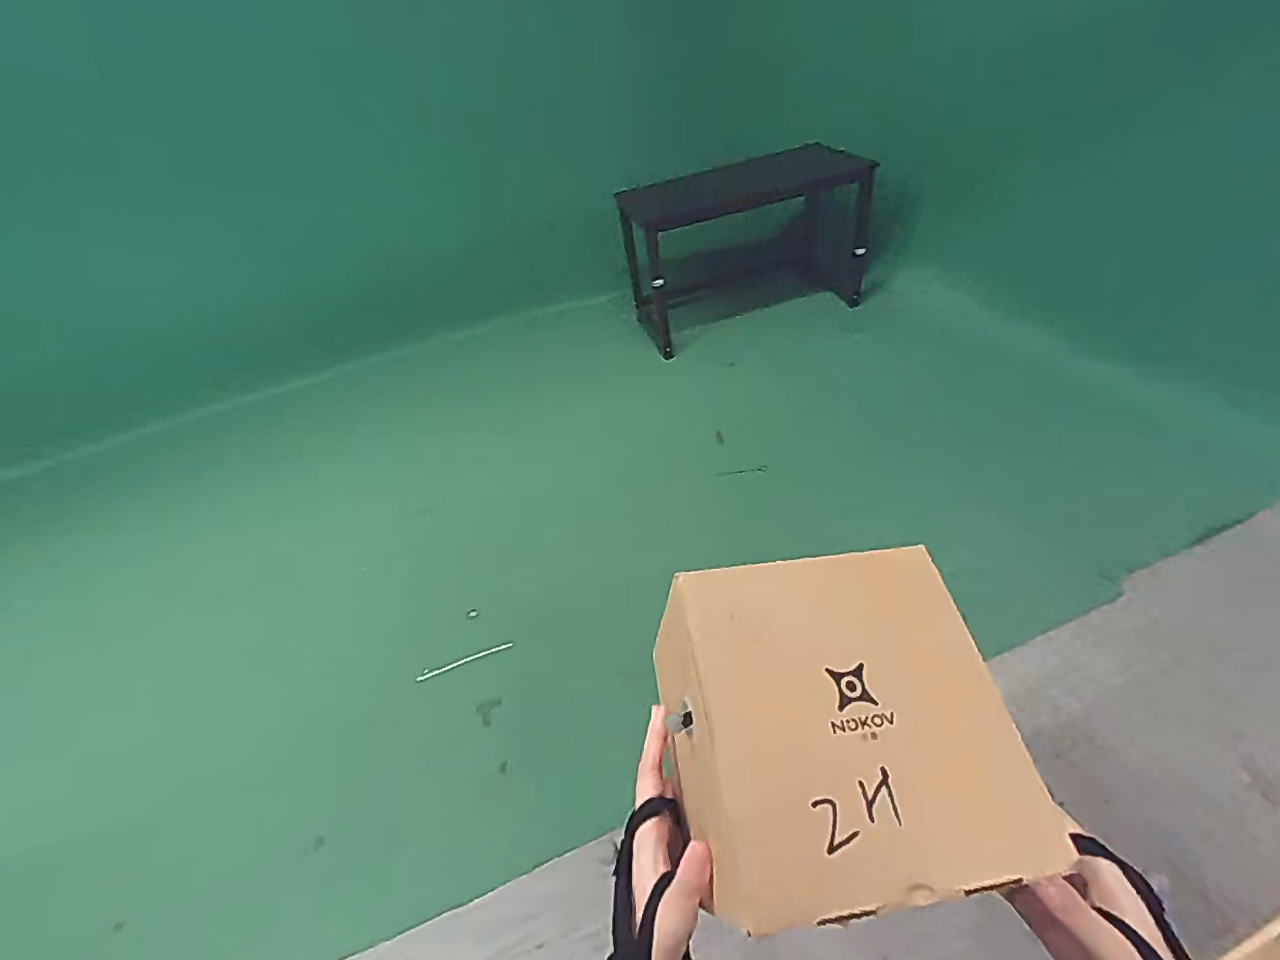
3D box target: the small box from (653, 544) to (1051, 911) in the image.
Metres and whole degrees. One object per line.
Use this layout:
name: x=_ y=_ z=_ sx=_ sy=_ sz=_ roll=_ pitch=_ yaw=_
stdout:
small box: x=0.104 y=0.164 z=0.364 sx=0.168 sy=0.176 sz=0.179 roll=-5 pitch=56 yaw=-7
